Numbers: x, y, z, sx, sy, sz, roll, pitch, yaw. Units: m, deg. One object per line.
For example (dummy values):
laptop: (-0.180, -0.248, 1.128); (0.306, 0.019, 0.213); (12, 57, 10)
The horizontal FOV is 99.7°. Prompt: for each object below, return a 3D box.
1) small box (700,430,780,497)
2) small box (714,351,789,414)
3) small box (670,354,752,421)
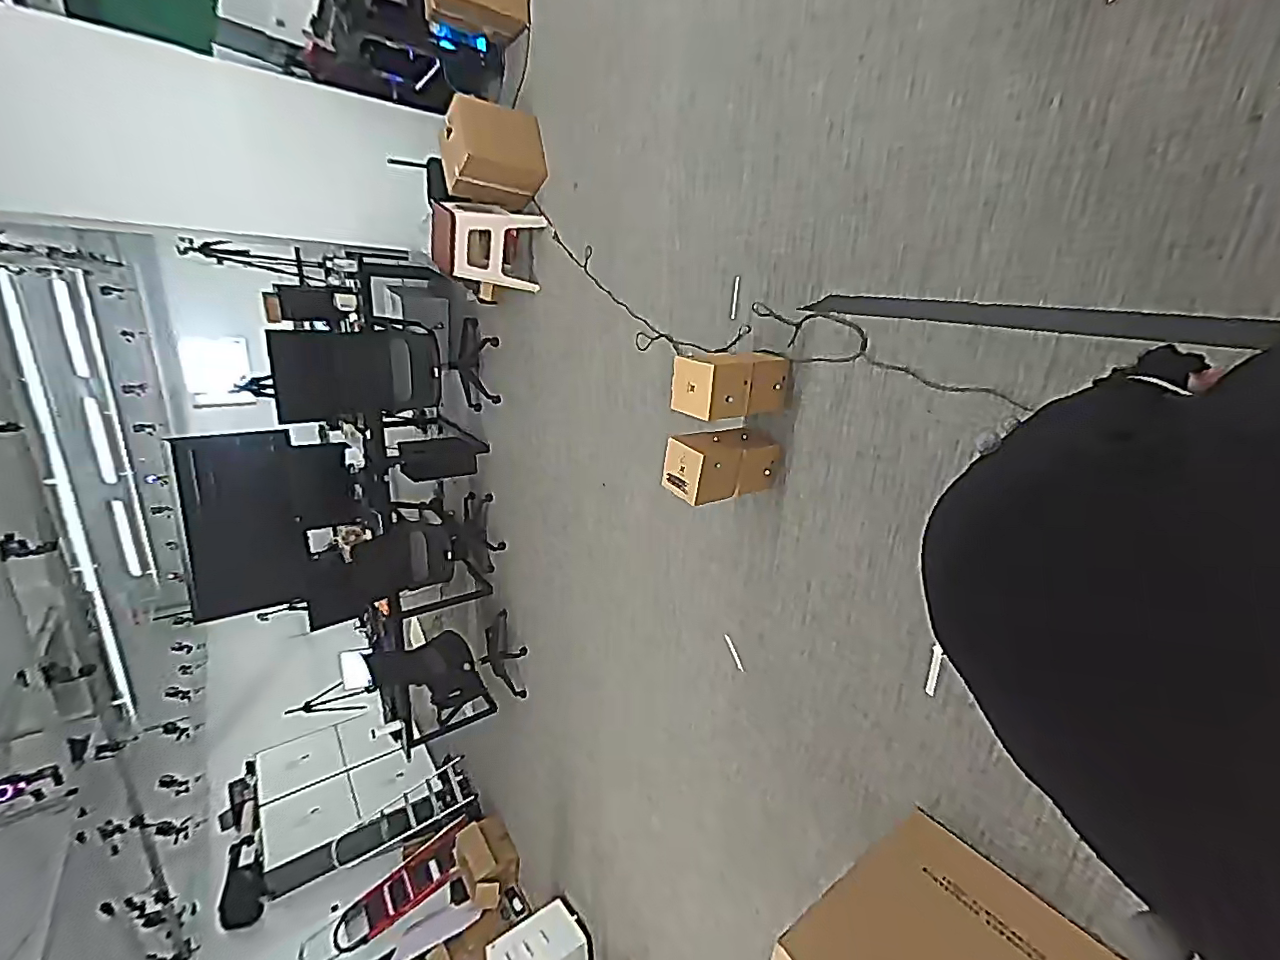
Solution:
small box: (0.332, -0.063, 1.800); (0.179, 0.176, 0.168); (34, 125, 44)
small box: (0.343, -0.314, 1.715); (0.179, 0.176, 0.168); (28, 122, 47)
small box: (0.213, -0.284, 1.623); (0.179, 0.176, 0.168); (28, 122, 48)
